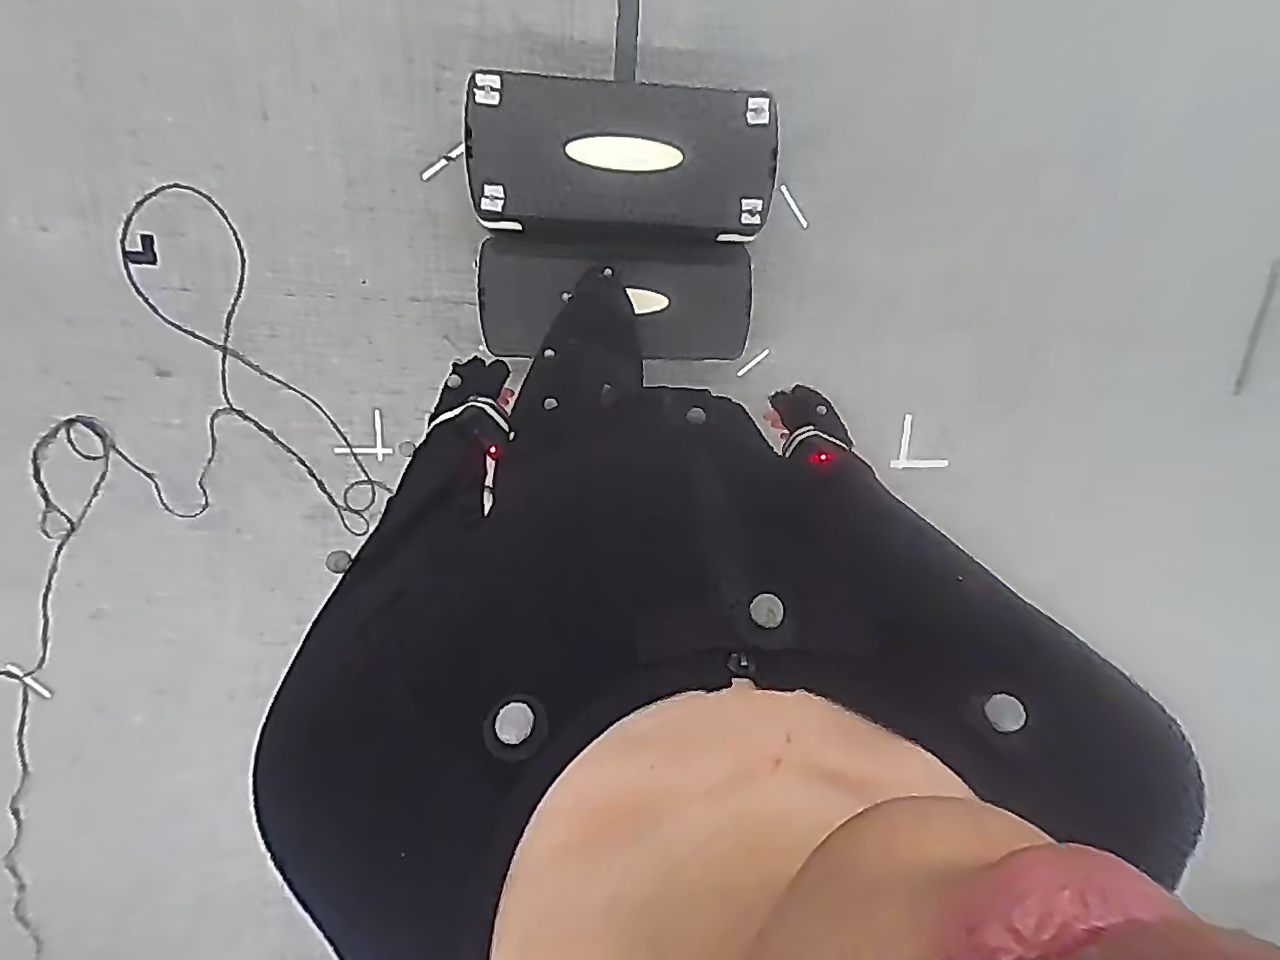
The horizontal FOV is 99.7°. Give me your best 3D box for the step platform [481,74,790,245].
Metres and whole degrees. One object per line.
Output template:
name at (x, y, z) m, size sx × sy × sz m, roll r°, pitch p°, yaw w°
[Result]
step platform at (-0.009, -0.718, 1.238) m, size 0.684 × 0.204 × 0.286 m, roll 0°, pitch 105°, yaw -5°
